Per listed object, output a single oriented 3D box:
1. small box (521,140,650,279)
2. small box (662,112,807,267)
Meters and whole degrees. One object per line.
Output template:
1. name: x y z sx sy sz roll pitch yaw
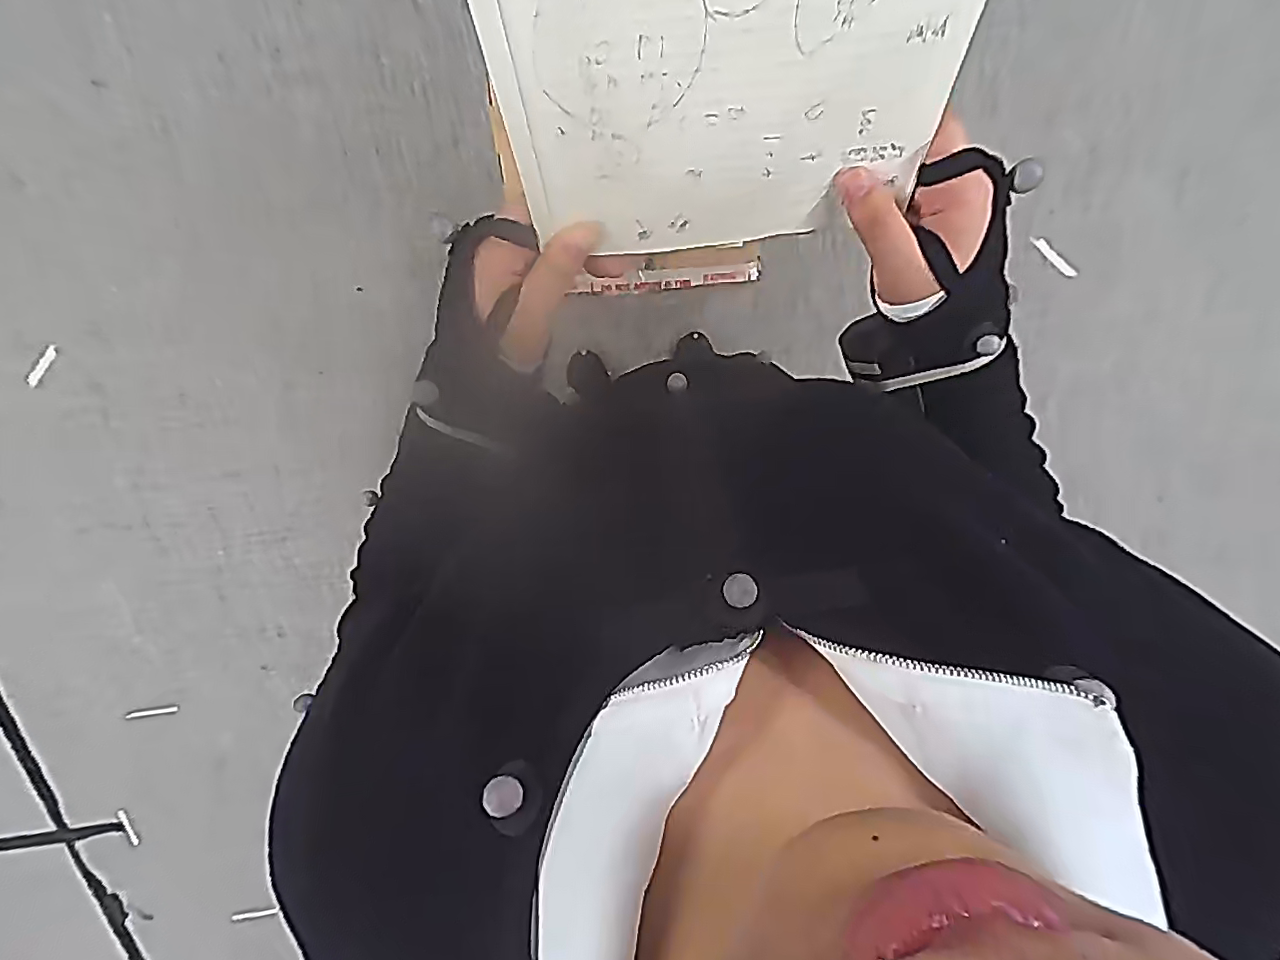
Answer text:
1. small box: -0.077 -0.405 0.831 0.179 0.176 0.168 -1 106 -1
2. small box: 0.138 -0.435 0.835 0.179 0.176 0.168 -10 106 -1
